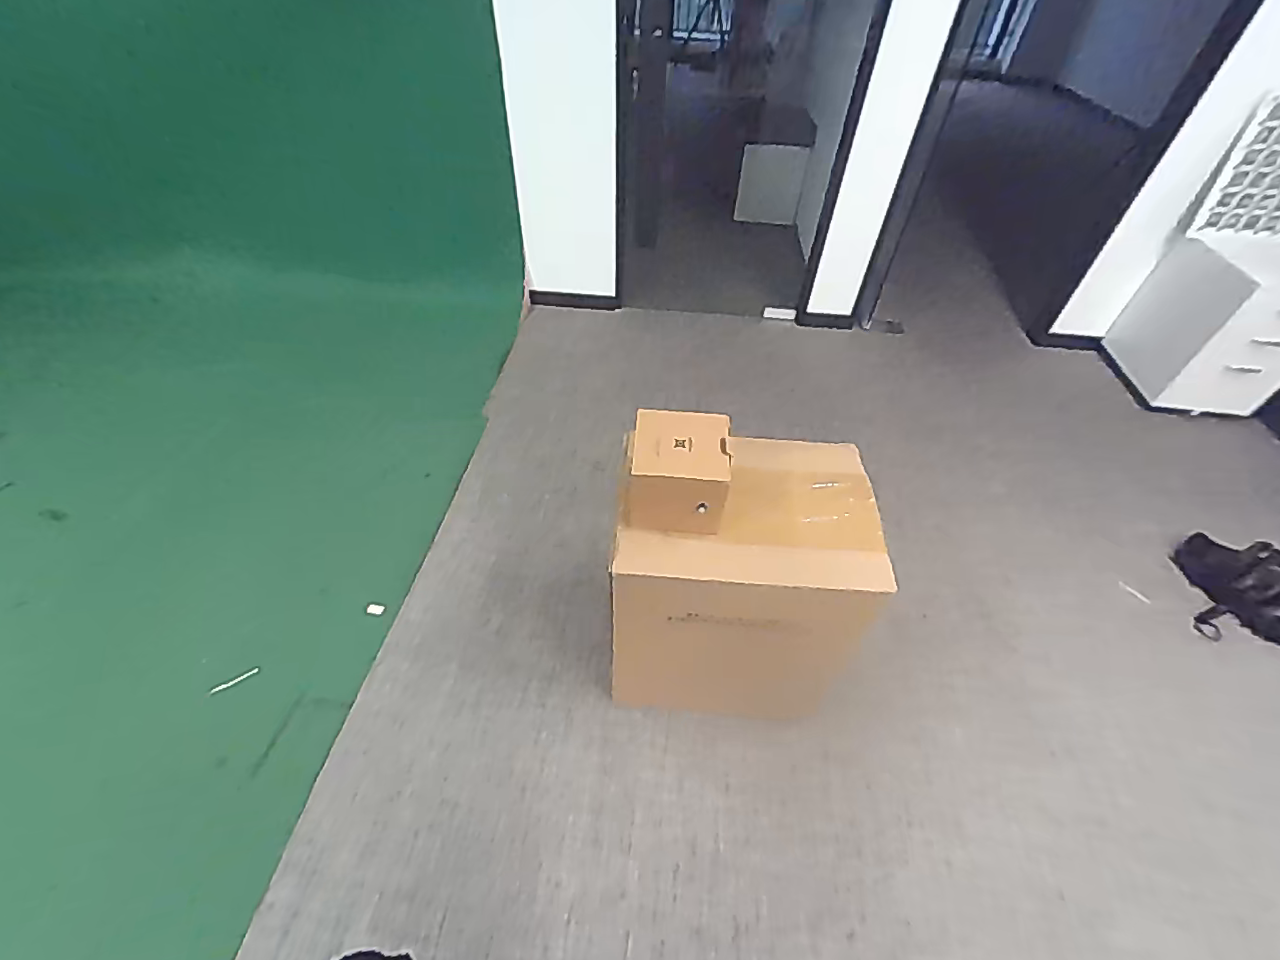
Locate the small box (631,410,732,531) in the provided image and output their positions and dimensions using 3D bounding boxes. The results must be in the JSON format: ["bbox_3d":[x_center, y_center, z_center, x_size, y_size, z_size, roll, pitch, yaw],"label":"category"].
[{"bbox_3d":[0.077,-0.014,1.045,0.179,0.176,0.168,2,51,3],"label":"small box"}]
